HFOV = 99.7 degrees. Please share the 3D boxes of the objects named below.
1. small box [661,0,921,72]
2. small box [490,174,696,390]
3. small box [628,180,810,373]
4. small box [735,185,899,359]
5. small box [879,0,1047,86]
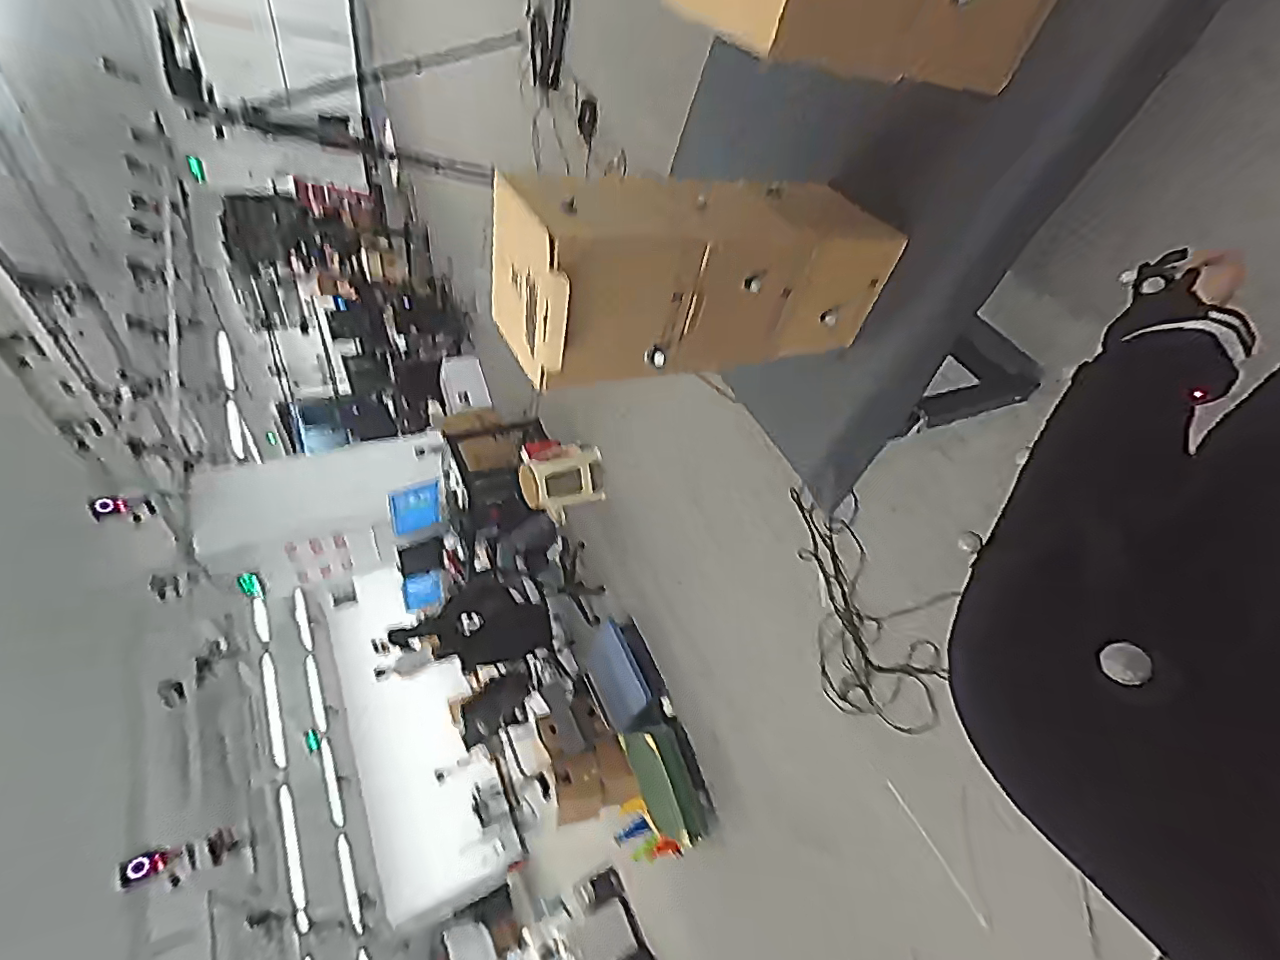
[{"bbox_3d":[0.147,-0.473,0.458,0.179,0.176,0.168,56,146,31],"label":"small box"},{"bbox_3d":[-0.061,-0.227,0.610,0.179,0.176,0.168,55,144,36],"label":"small box"},{"bbox_3d":[0.081,-0.261,0.687,0.179,0.176,0.168,56,145,35],"label":"small box"},{"bbox_3d":[0.221,-0.296,0.765,0.179,0.176,0.168,56,145,32],"label":"small box"},{"bbox_3d":[0.290,-0.515,0.532,0.179,0.176,0.168,57,147,32],"label":"small box"}]
